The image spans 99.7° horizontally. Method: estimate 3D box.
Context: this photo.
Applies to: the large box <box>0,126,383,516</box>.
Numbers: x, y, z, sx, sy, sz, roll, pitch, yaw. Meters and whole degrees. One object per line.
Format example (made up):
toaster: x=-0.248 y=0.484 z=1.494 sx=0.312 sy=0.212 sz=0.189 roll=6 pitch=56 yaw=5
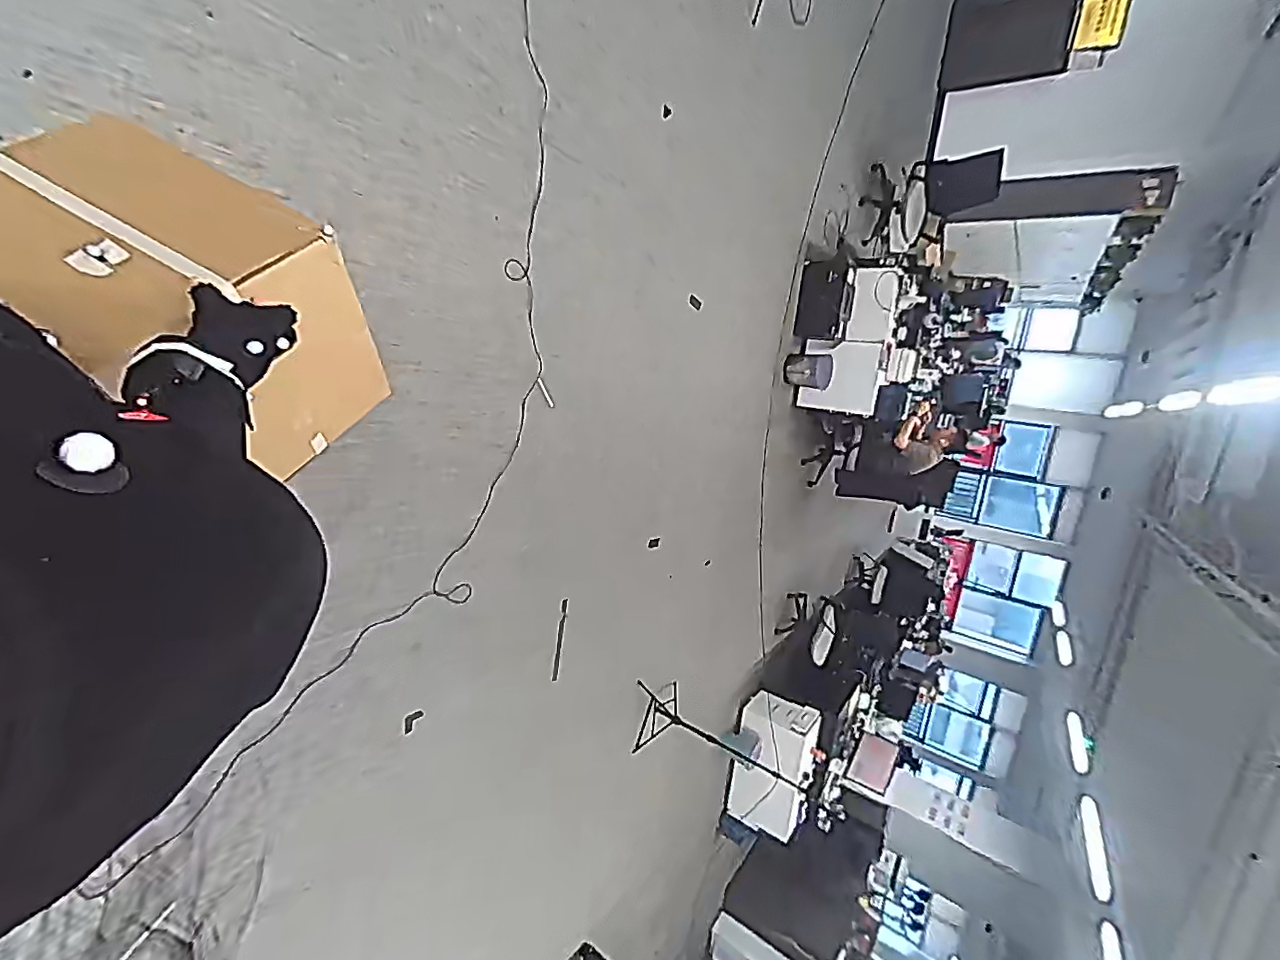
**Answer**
large box: x=-0.666 y=-0.219 z=0.775 sx=0.320 sy=0.408 sz=0.320 roll=-55 pitch=171 yaw=-31
